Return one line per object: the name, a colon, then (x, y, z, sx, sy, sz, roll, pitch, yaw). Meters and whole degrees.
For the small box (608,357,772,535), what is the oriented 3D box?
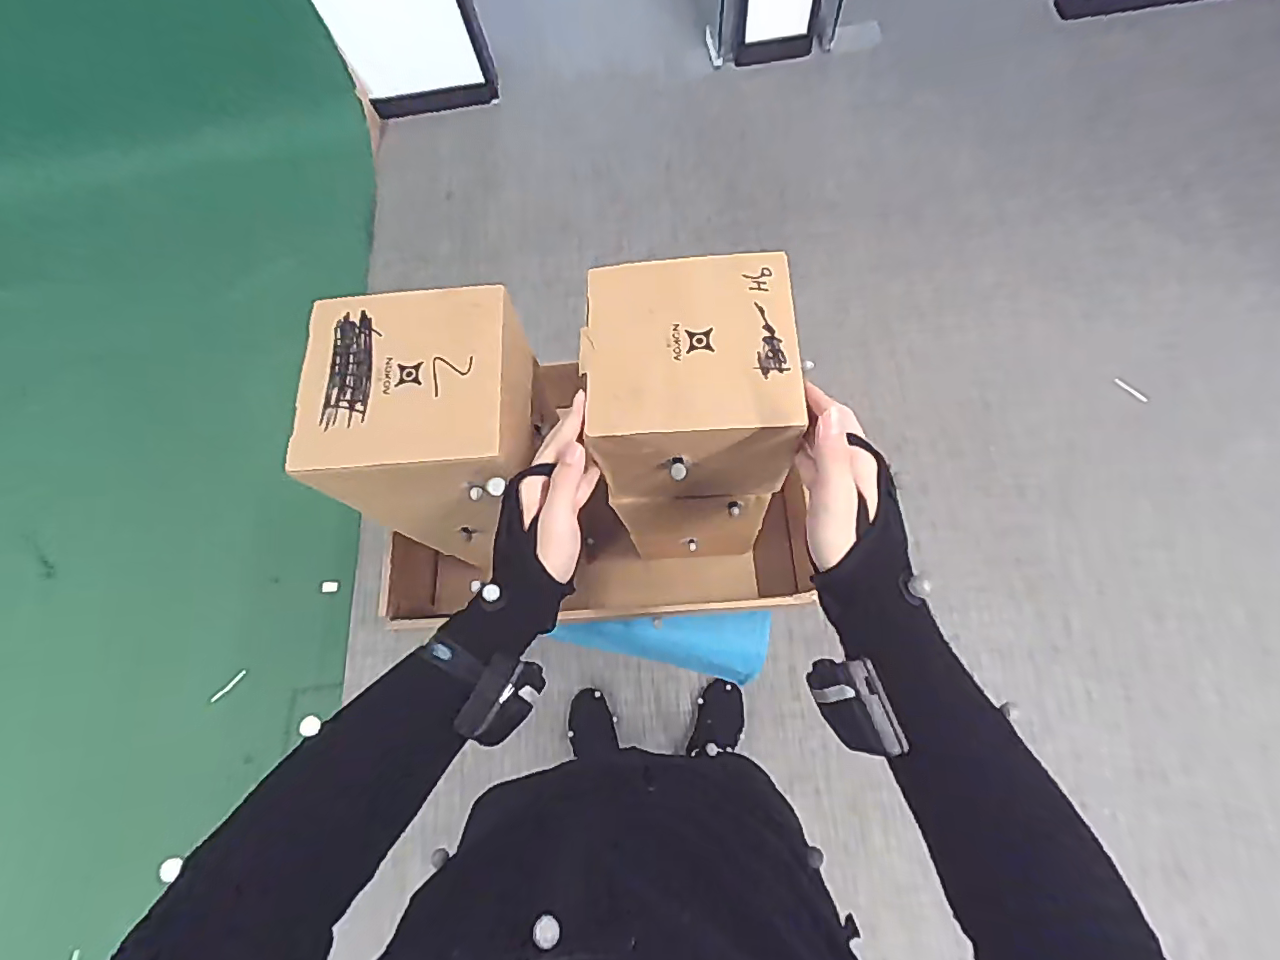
small box: (0.062, -0.032, 0.673, 0.179, 0.176, 0.168, -4, 71, 6)

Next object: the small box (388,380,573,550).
small box: (-0.187, -0.009, 0.686, 0.179, 0.176, 0.168, -4, 71, 2)
